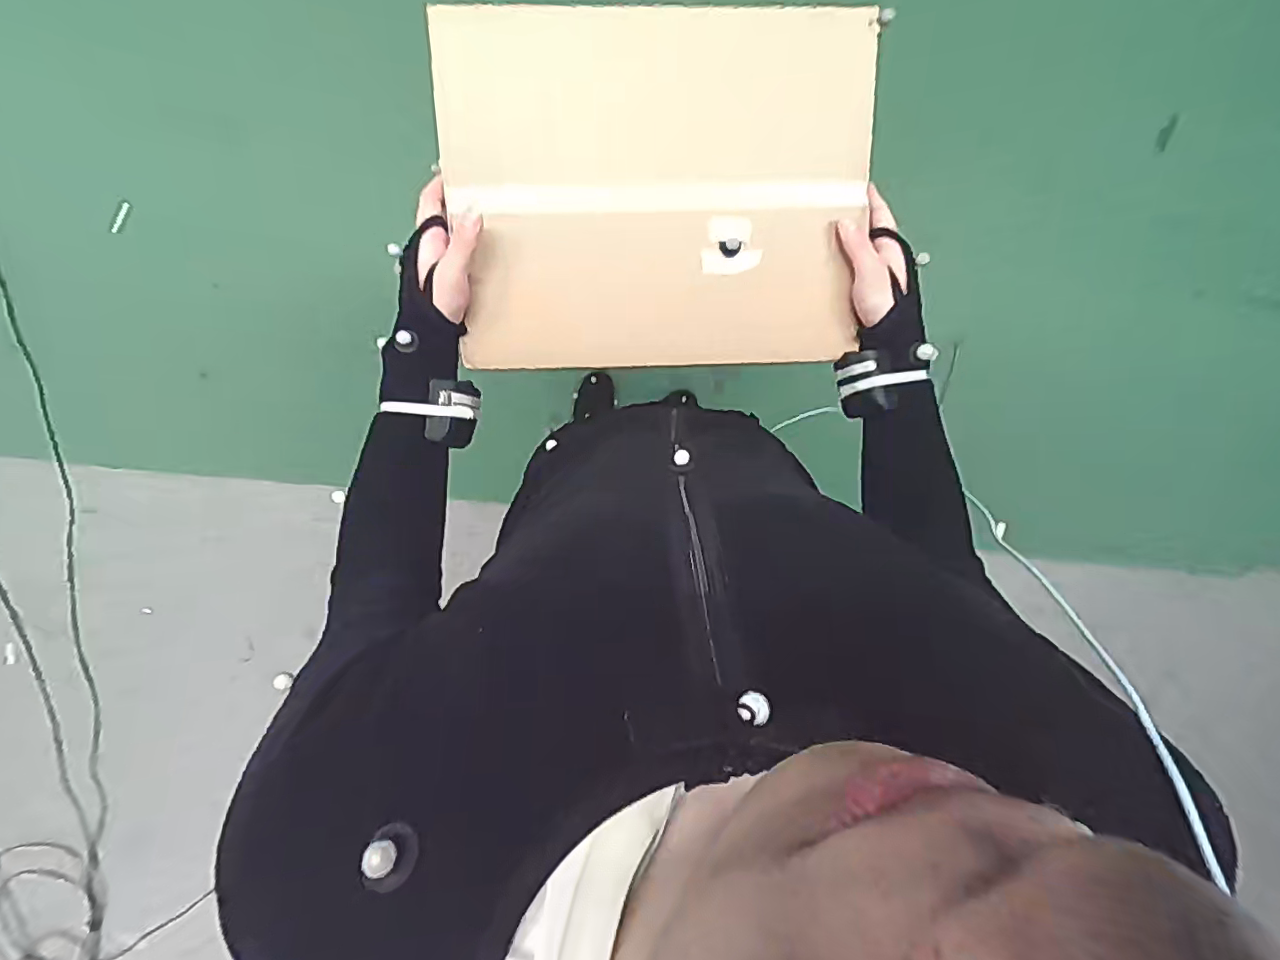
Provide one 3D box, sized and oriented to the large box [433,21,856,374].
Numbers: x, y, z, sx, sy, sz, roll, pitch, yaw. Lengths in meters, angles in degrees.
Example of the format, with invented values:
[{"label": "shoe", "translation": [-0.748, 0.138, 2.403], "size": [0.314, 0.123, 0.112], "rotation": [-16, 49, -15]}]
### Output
[{"label": "large box", "translation": [0.004, -0.301, 0.676], "size": [0.408, 0.320, 0.320], "rotation": [-3, 102, -3]}]
